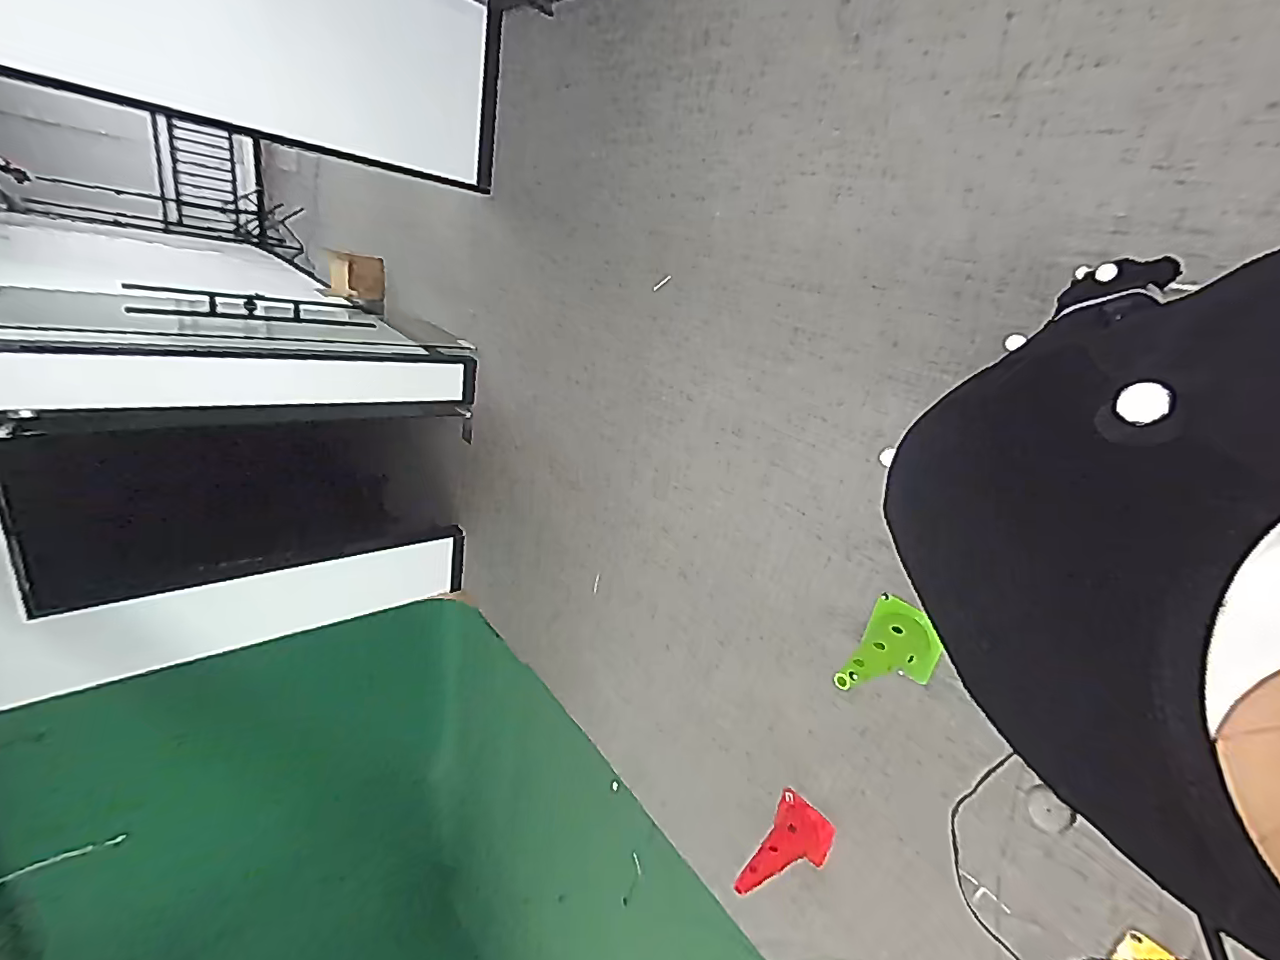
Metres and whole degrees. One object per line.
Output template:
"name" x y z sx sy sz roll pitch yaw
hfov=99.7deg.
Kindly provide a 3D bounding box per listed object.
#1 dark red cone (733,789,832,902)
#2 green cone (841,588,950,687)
"dark red cone" 0.435 1.215 1.748 0.202 0.394 0.201 25 117 43
"green cone" 0.627 0.456 1.423 0.202 0.368 0.200 29 119 40
